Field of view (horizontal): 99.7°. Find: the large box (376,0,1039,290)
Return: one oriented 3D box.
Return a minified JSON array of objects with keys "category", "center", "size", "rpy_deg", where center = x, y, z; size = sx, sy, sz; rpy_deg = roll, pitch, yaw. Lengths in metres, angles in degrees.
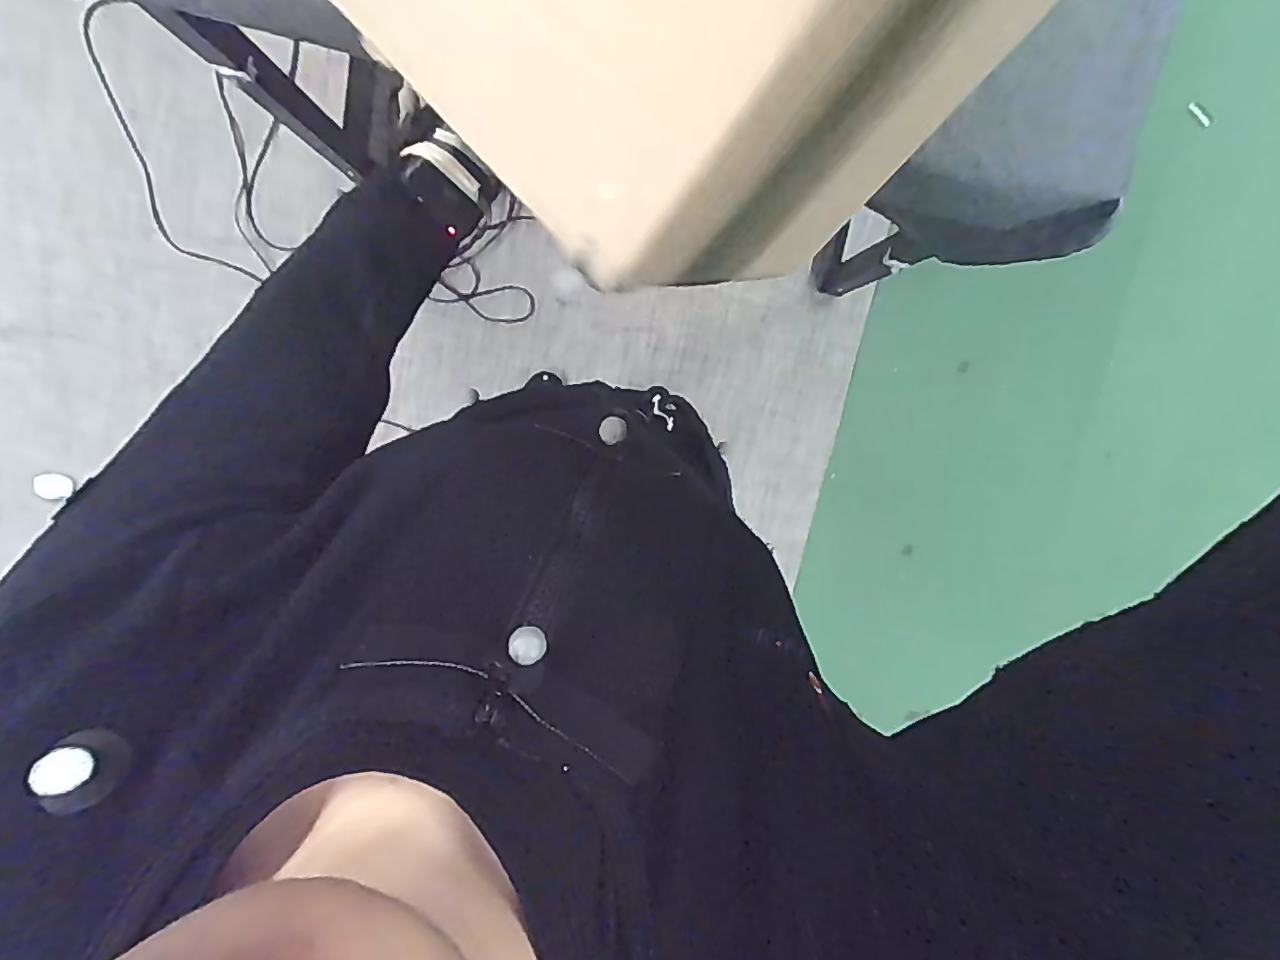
[{"category":"large box","center":[0.084,-0.354,0.225],"size":[0.320,0.320,0.408],"rpy_deg":[46,125,4]}]
